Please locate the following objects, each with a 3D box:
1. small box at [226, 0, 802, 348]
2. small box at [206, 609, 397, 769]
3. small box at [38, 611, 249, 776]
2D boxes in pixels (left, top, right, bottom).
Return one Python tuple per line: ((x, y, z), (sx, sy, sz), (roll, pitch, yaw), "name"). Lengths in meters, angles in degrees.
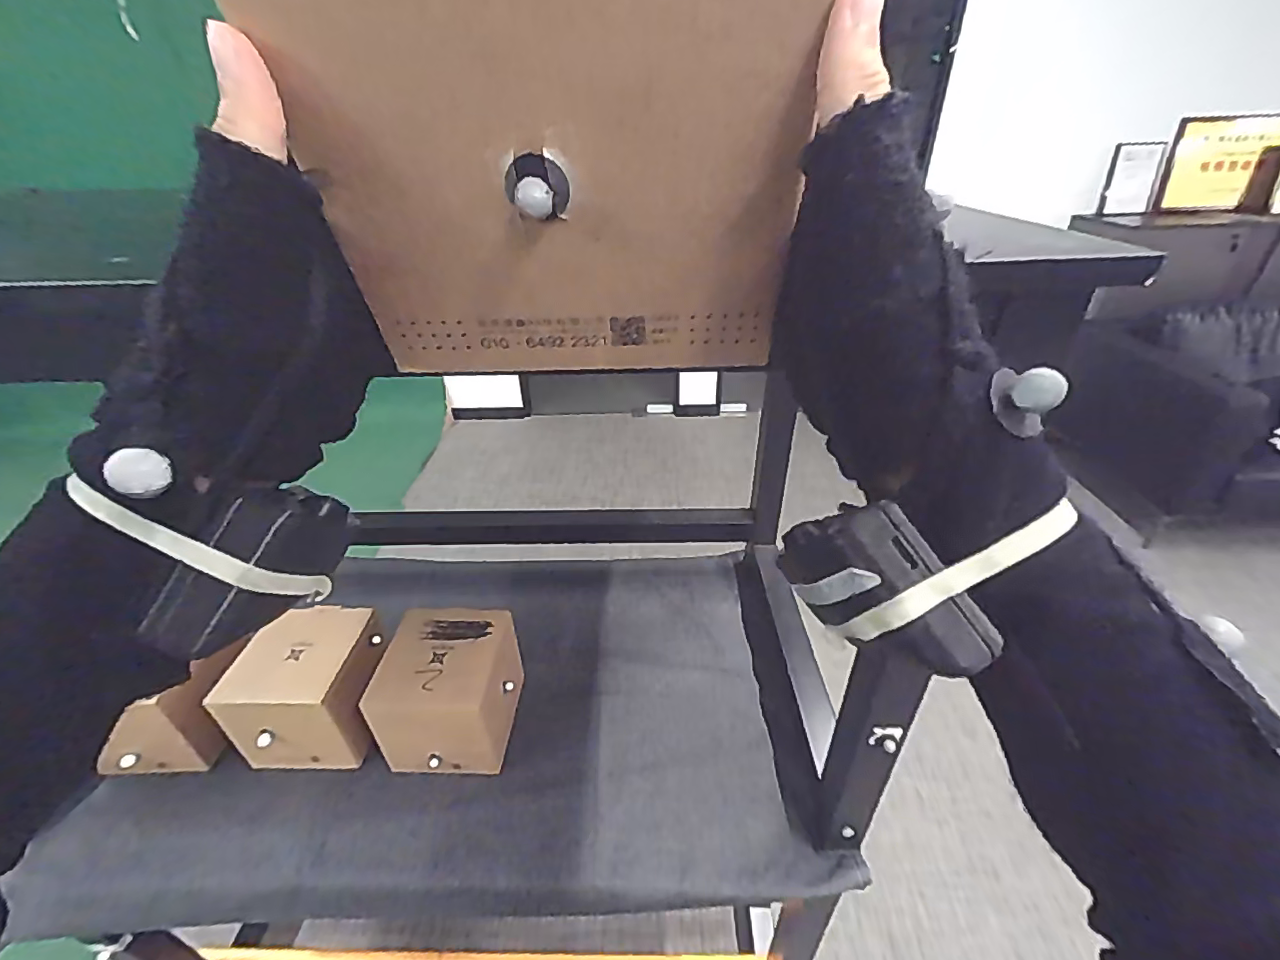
((-0.031, -0.171, 0.232), (0.168, 0.176, 0.179), (-1, 52, 1), "small box")
((-0.502, 0.322, 0.838), (0.168, 0.176, 0.179), (0, 32, 1), "small box")
((-0.729, 0.326, 0.837), (0.168, 0.176, 0.179), (-2, 33, -1), "small box")
